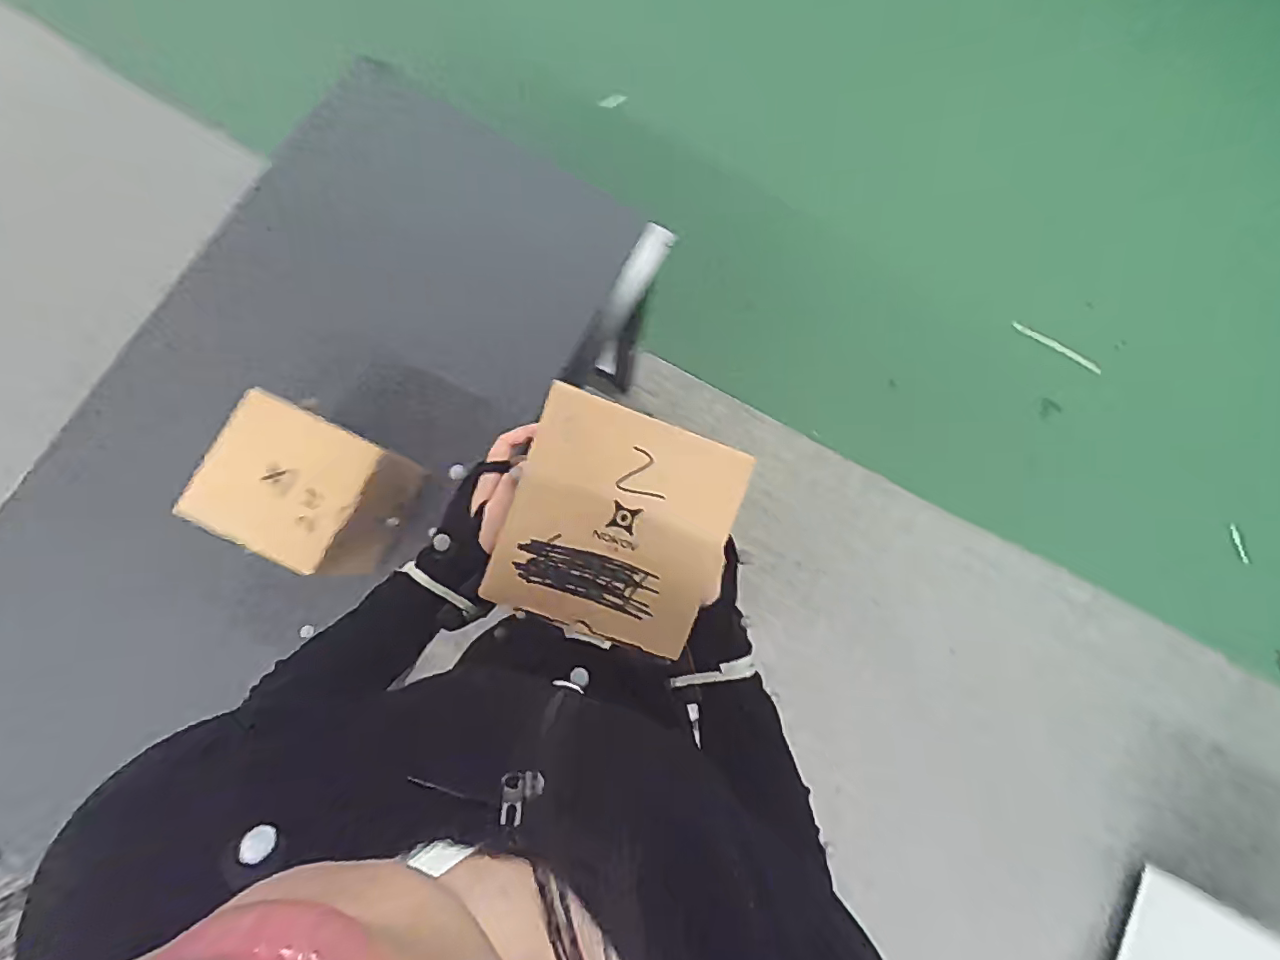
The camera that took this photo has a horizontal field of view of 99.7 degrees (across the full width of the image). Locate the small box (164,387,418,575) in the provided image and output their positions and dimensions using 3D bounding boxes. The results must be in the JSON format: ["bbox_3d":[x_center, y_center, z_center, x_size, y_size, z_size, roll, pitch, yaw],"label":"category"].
[{"bbox_3d":[-0.420,0.012,0.687,0.179,0.176,0.168,25,81,0],"label":"small box"}]
